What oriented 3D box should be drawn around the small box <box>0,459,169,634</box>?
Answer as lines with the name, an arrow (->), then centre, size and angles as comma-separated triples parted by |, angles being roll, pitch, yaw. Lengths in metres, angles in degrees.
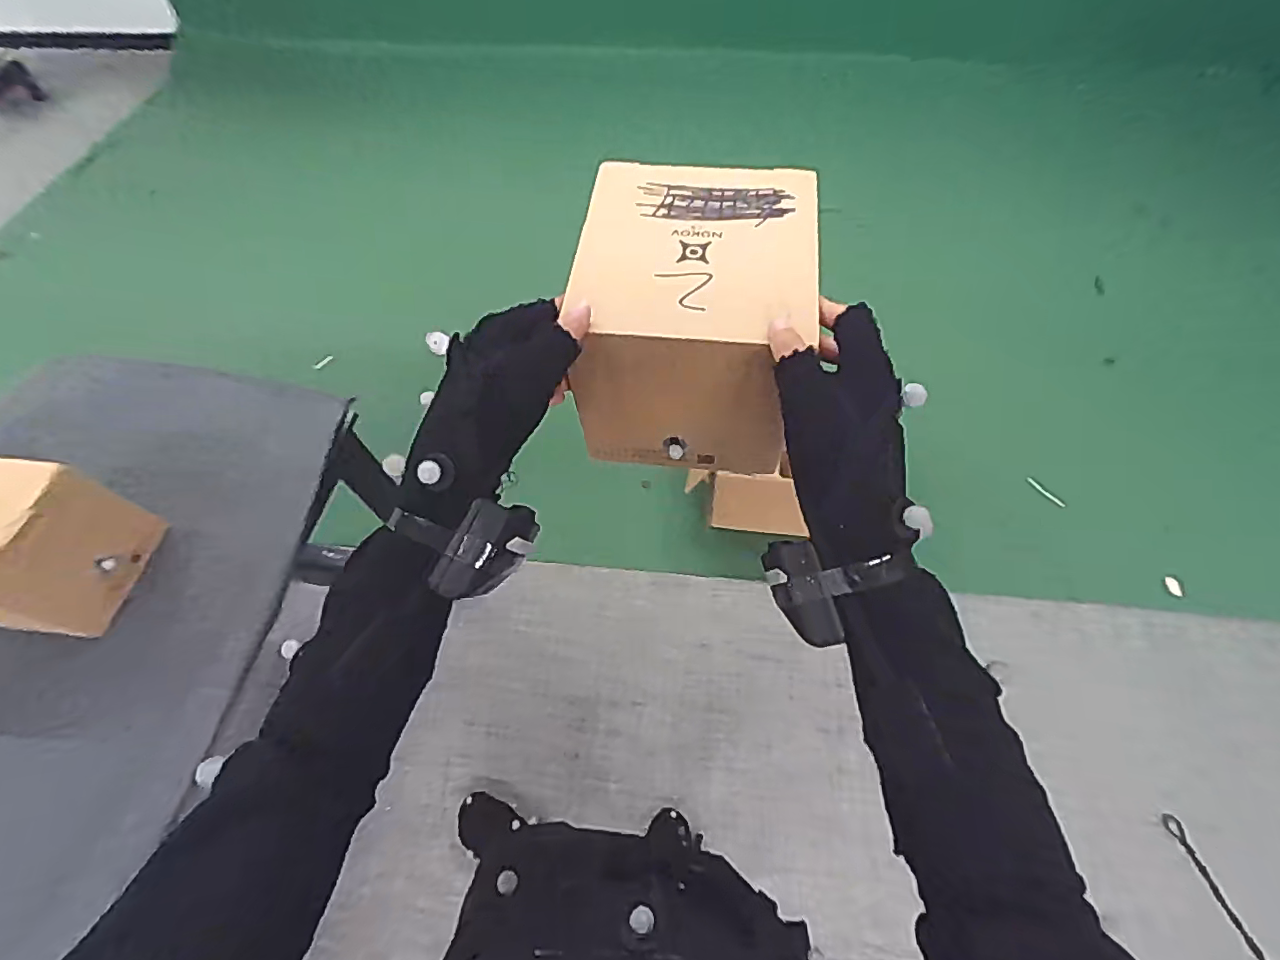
small box -> -0.774, 0.087, 0.683 | 0.179, 0.176, 0.168 | 5, 60, 4
